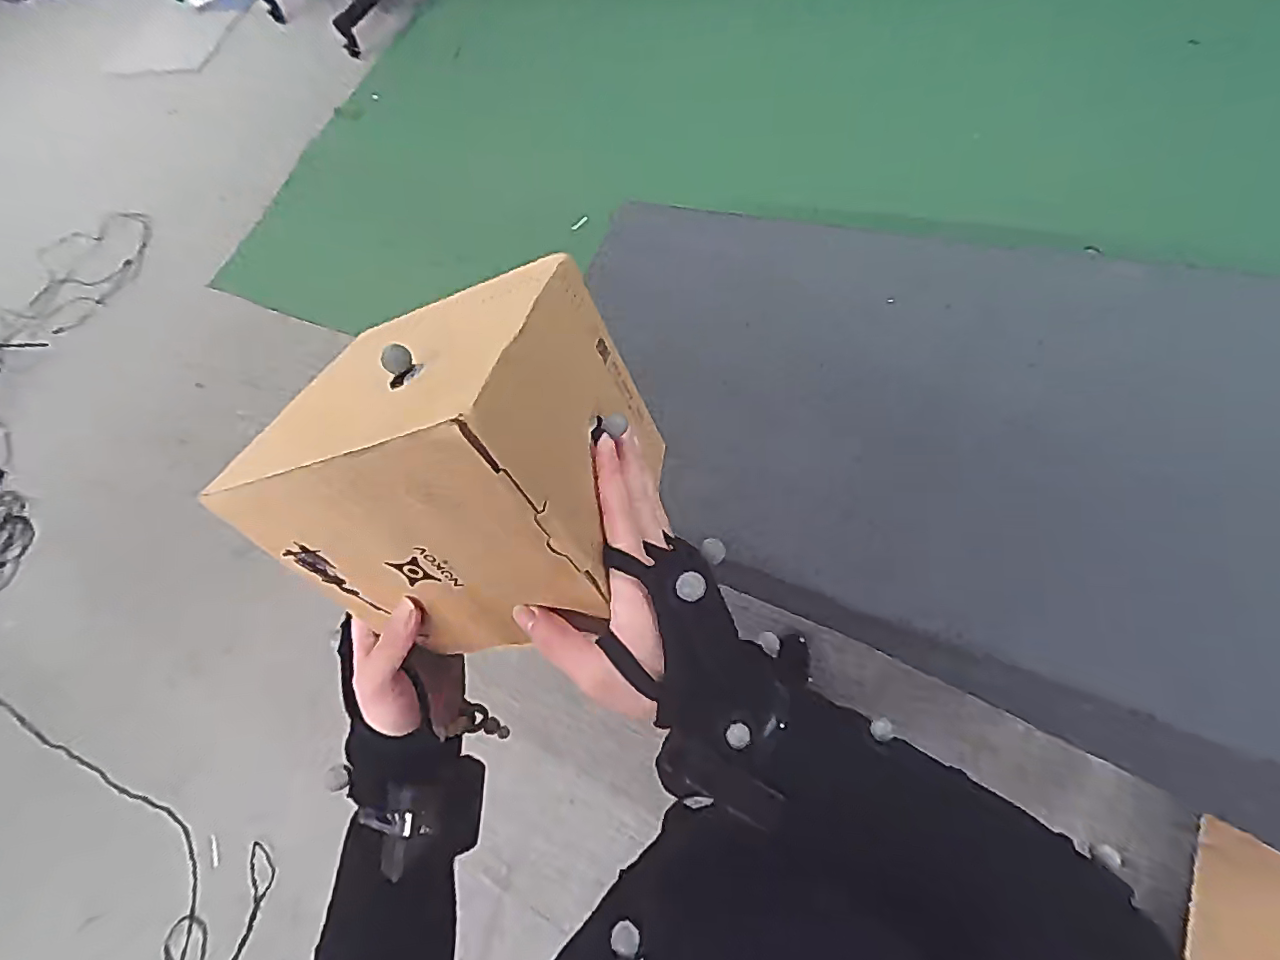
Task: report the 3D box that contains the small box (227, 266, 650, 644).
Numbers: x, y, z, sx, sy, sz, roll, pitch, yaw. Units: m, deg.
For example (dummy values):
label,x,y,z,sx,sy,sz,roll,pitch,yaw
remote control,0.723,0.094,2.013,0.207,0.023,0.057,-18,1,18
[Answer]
label,x,y,z,sx,sy,sz,roll,pitch,yaw
small box,-0.101,-0.016,0.360,0.179,0.168,0.176,-13,37,21
